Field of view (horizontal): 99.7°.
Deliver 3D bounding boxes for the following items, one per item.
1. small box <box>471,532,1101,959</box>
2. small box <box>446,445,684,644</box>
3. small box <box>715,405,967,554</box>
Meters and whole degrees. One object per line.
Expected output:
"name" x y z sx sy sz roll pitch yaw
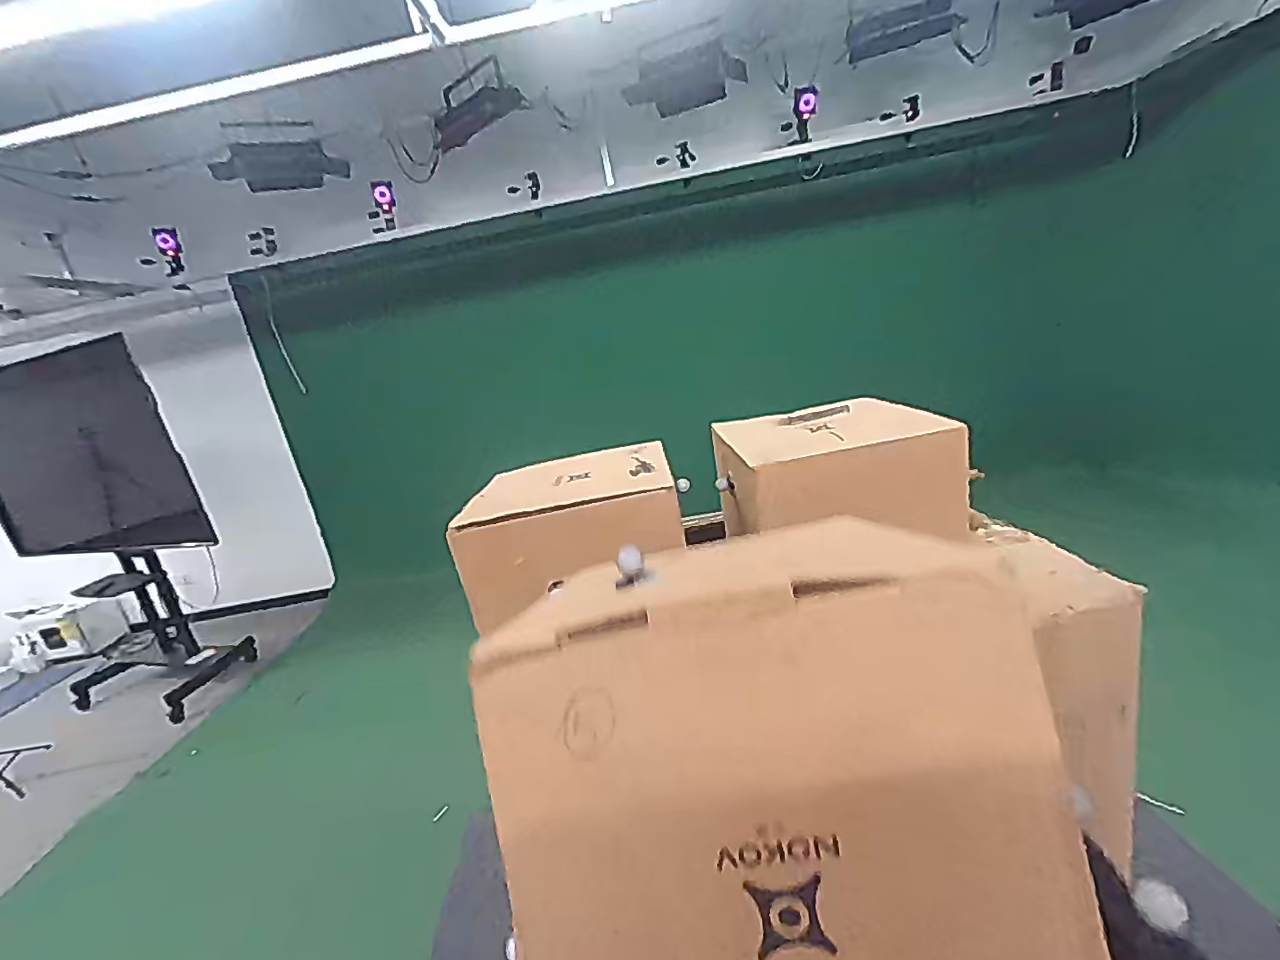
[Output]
"small box" 0.049 0.122 0.236 0.168 0.179 0.176 -10 0 6
"small box" -0.046 0.080 0.495 0.179 0.176 0.168 -11 17 1
"small box" 0.170 0.036 0.503 0.168 0.176 0.179 -10 18 0
